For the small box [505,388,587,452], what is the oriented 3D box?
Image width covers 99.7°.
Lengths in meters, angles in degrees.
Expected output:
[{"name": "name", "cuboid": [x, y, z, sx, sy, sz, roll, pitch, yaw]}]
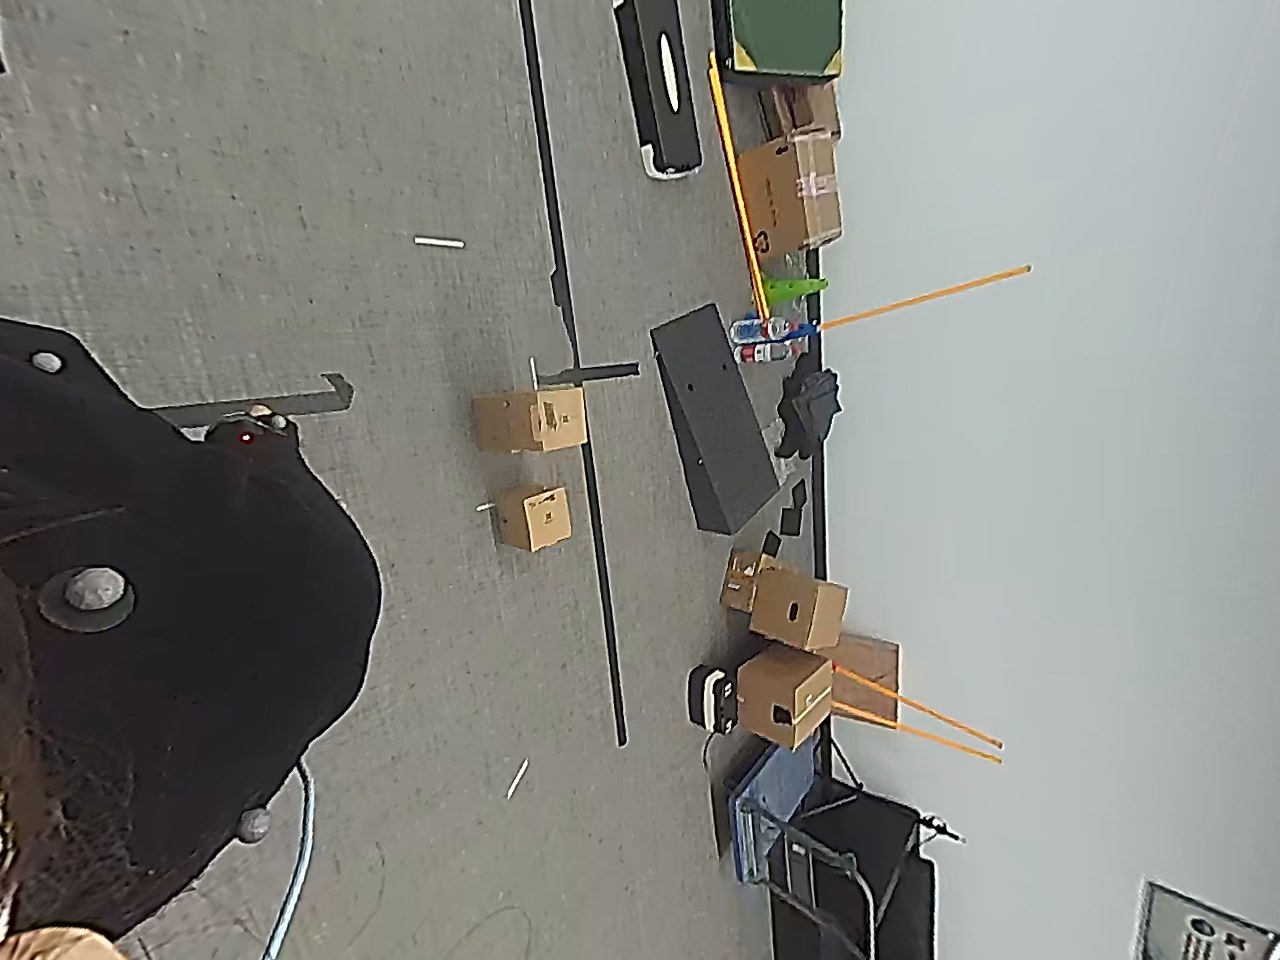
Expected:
[{"name": "small box", "cuboid": [-0.280, -0.177, 1.580, 0.179, 0.176, 0.168, -18, 109, -47]}]

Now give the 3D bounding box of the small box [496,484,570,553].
[{"name": "small box", "cuboid": [-0.353, 0.121, 1.781, 0.168, 0.176, 0.179, -20, 110, -45]}]

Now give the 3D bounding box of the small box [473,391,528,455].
[{"name": "small box", "cuboid": [-0.398, -0.183, 1.693, 0.168, 0.176, 0.179, -21, 110, -45]}]
